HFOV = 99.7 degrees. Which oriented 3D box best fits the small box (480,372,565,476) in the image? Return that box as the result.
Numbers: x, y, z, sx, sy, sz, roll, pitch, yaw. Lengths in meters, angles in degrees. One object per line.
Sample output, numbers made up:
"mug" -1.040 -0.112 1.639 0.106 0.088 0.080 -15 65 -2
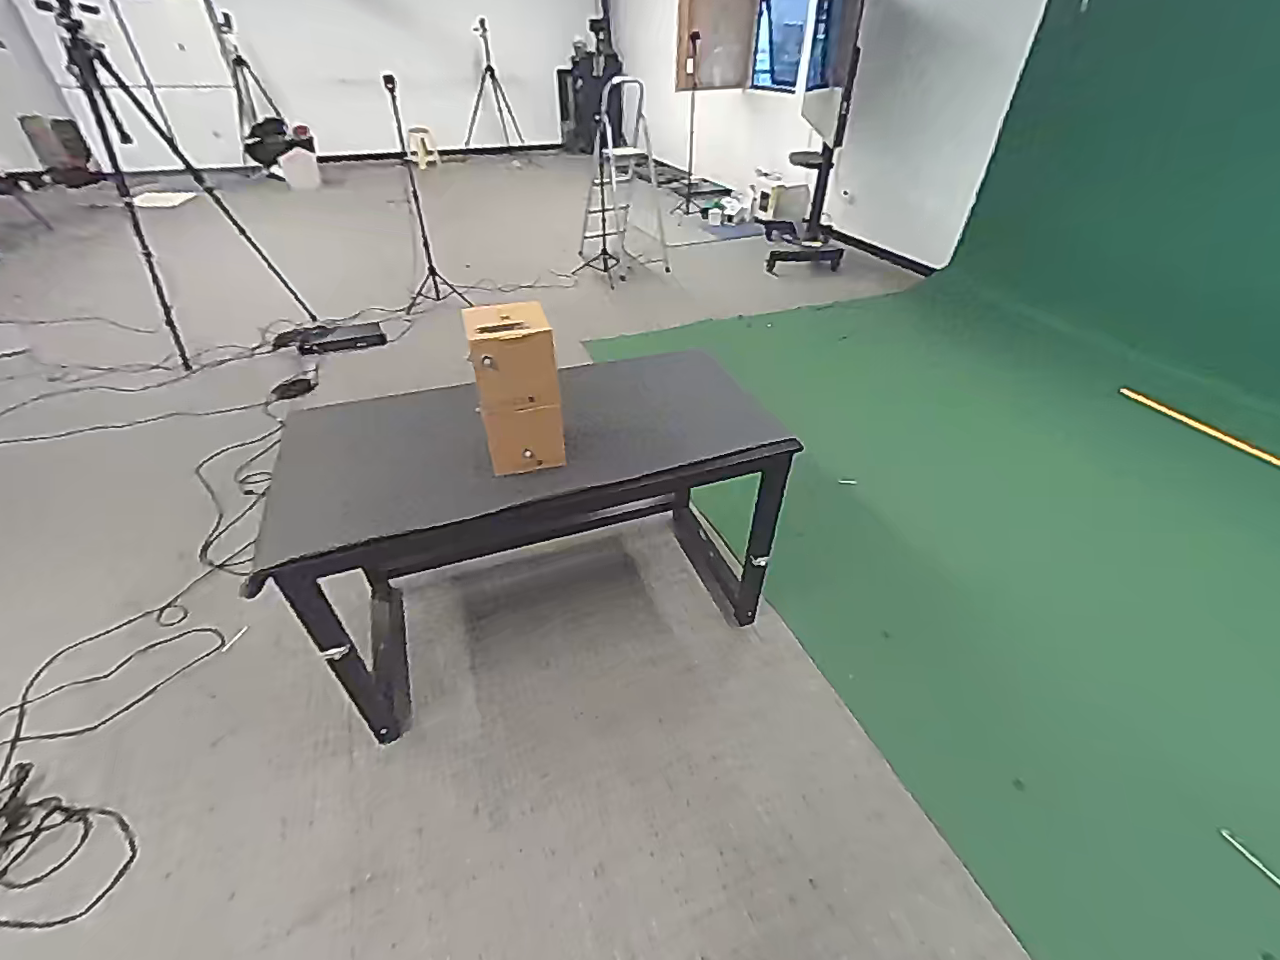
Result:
"small box" -0.274 -0.132 1.264 0.168 0.176 0.179 -10 39 -13
